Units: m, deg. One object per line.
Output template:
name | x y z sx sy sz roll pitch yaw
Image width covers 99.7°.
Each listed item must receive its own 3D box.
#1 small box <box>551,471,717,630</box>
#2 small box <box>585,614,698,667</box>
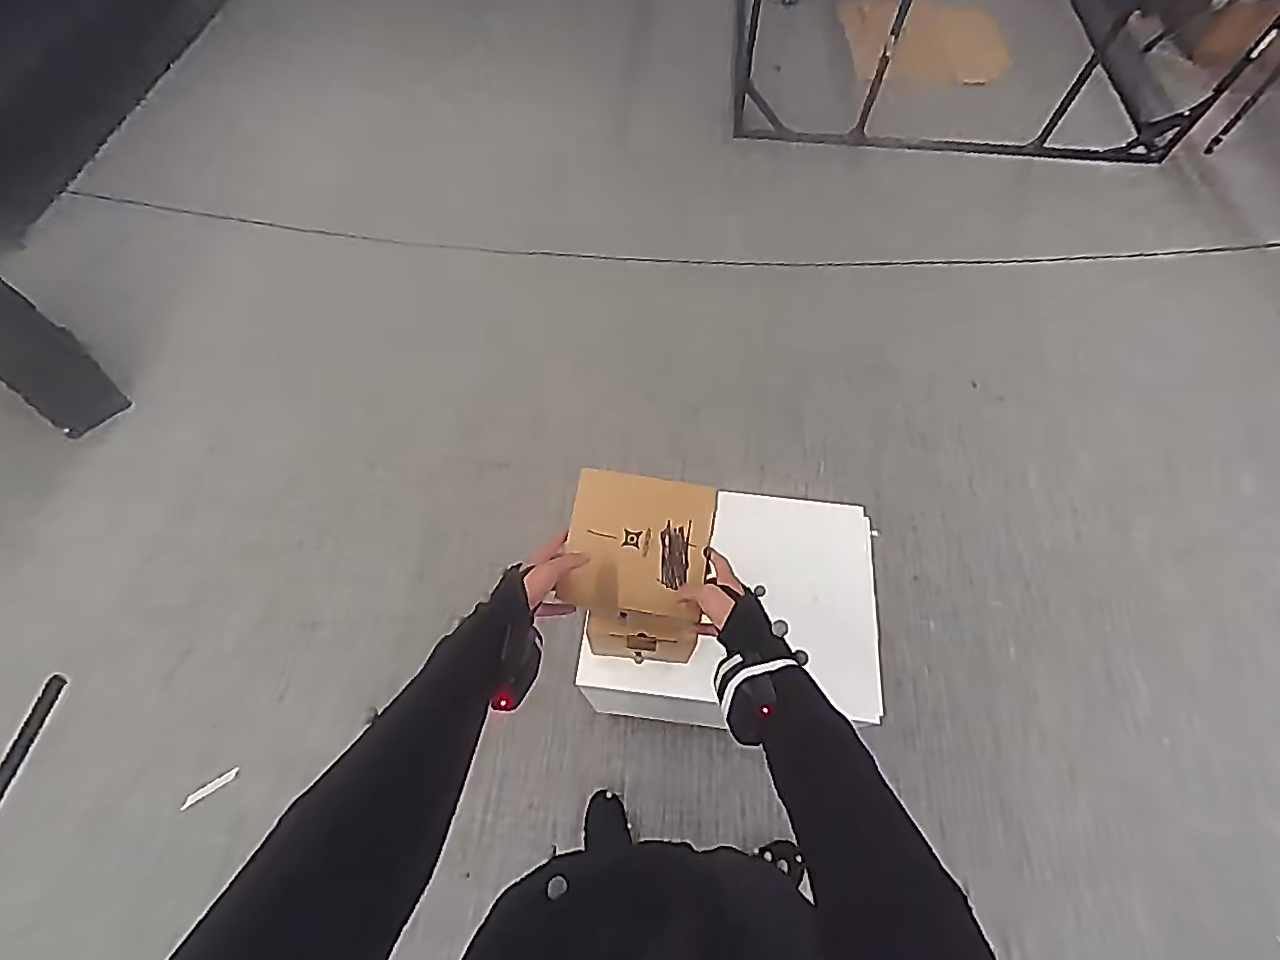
small box | -0.001 0.102 0.717 0.179 0.176 0.168 8 73 6
small box | 0.009 0.194 0.883 0.168 0.176 0.179 5 63 3
